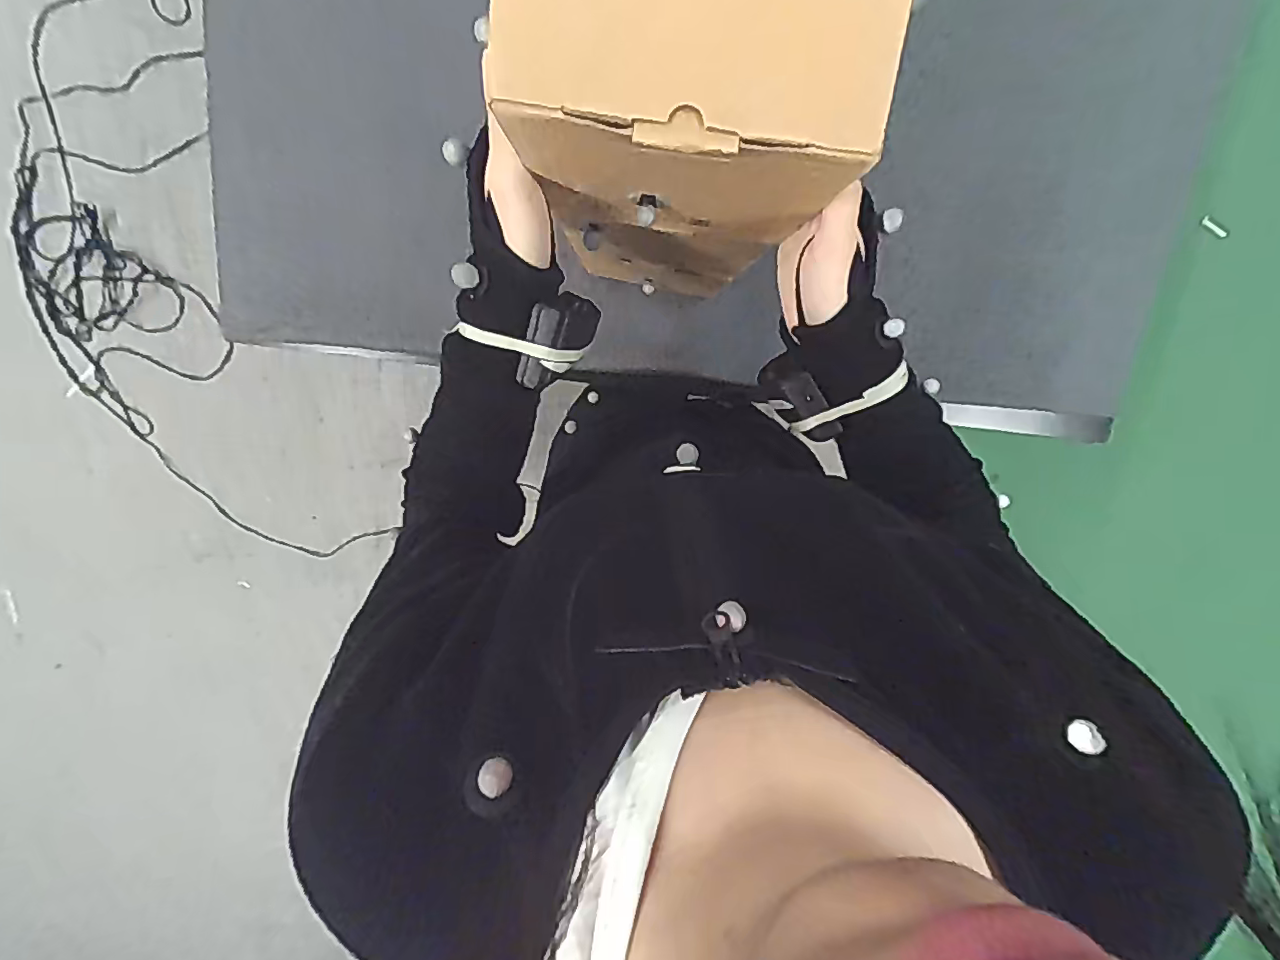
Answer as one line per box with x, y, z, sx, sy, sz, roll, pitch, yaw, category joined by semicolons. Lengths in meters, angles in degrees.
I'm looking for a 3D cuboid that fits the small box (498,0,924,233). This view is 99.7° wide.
0.032;-0.247;0.279;0.168;0.176;0.179;6;103;-1;small box

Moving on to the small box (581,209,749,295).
0.036;-0.317;0.598;0.168;0.176;0.179;11;102;-2;small box
